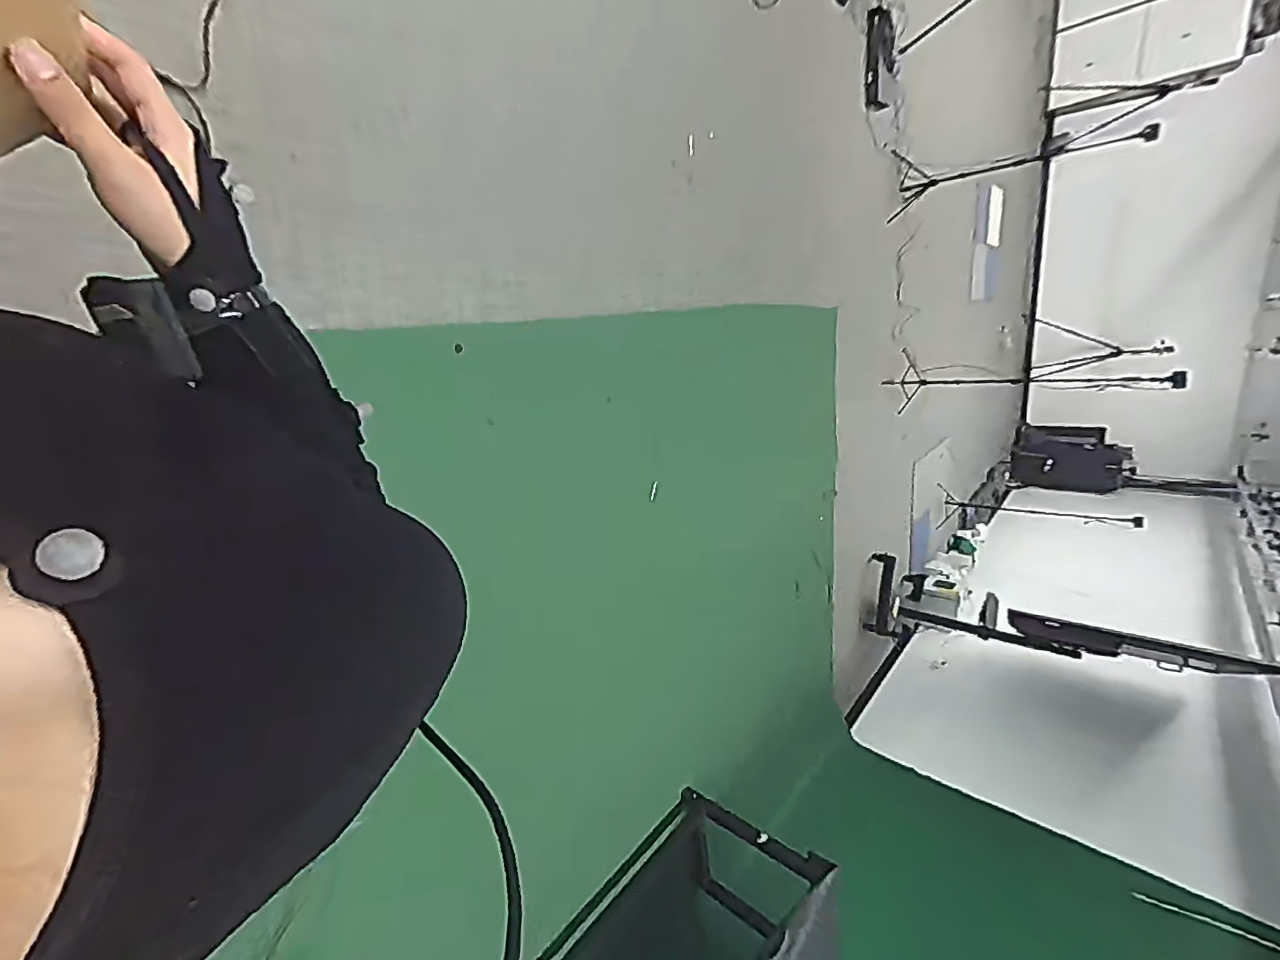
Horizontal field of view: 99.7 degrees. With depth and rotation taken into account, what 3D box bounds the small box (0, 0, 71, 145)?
[{"bbox_3d":[-0.364,-0.212,0.190,0.168,0.176,0.179,49,62,-33],"label":"small box"}]
